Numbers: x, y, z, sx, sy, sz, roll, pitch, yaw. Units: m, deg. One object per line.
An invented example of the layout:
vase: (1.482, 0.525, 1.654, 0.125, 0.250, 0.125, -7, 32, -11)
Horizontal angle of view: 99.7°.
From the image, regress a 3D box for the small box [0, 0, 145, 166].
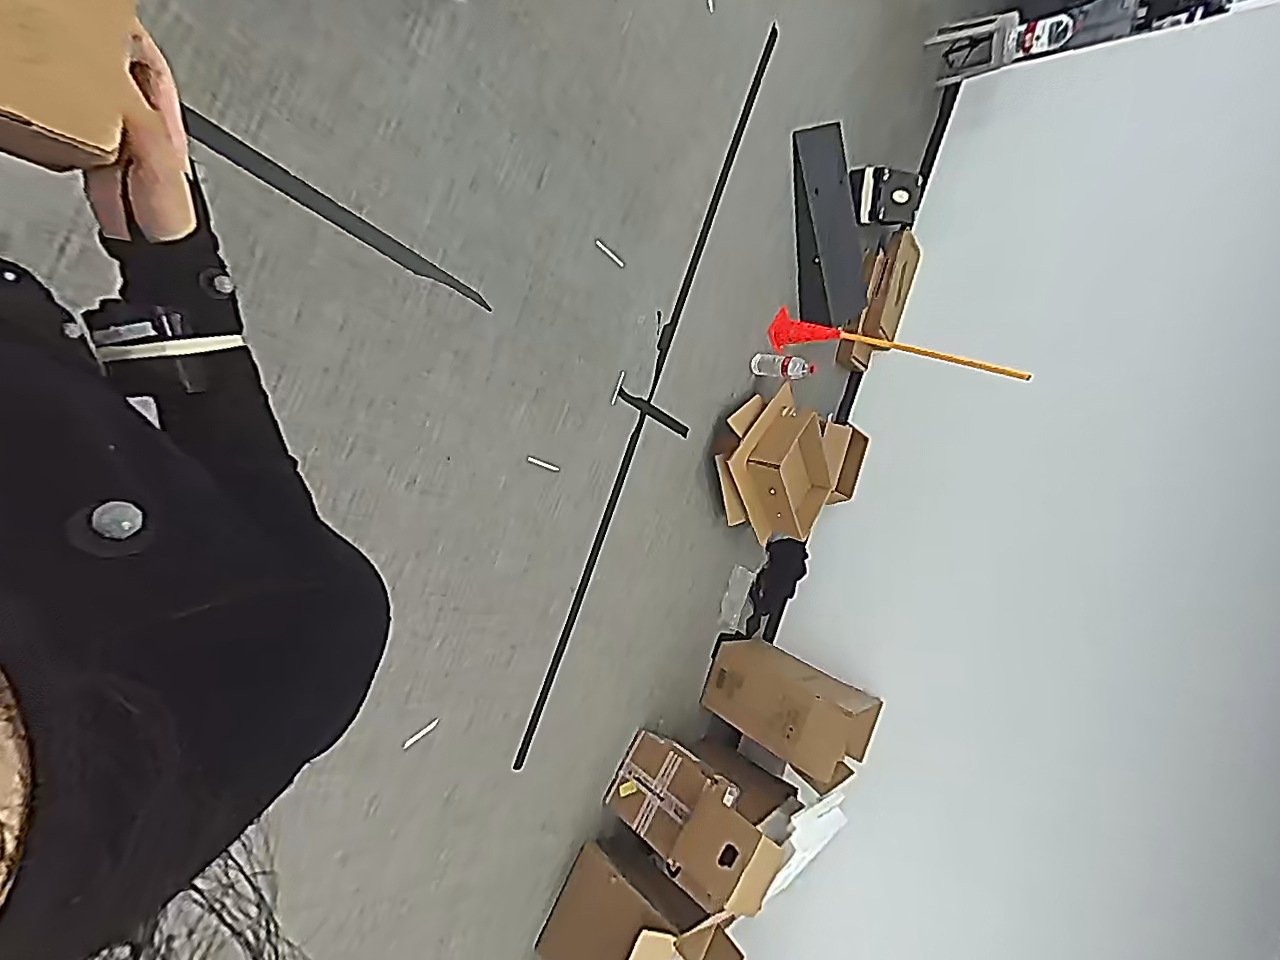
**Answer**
small box: (-0.364, -0.277, 0.260, 0.168, 0.176, 0.179, 4, 104, -54)
